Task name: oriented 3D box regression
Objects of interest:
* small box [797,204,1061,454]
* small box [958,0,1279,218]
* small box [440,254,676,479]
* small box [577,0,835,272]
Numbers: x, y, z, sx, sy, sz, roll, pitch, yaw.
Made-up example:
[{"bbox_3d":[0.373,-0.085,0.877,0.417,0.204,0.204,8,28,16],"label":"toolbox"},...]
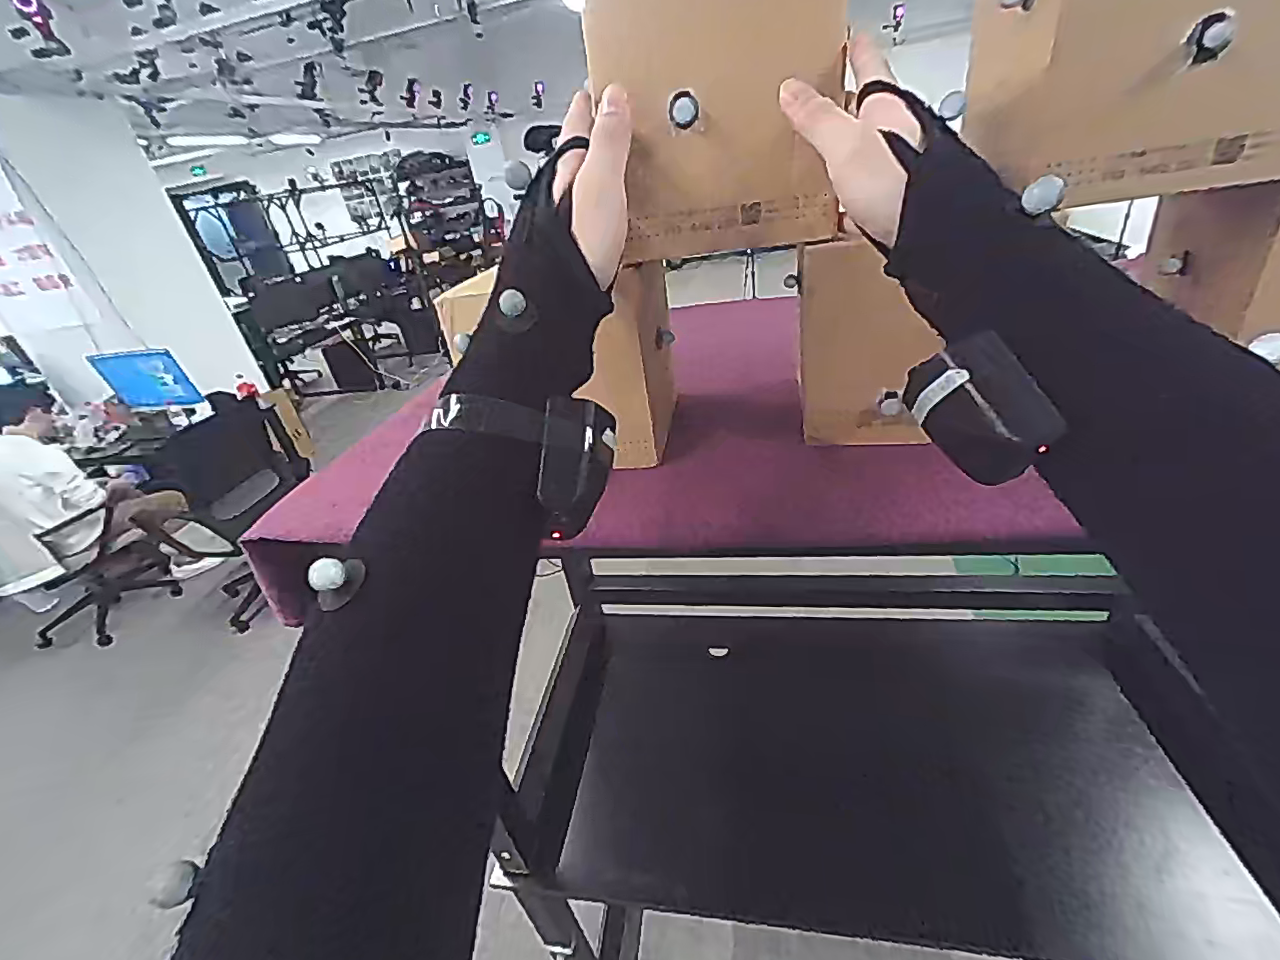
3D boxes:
[{"bbox_3d":[0.226,-0.135,0.480,0.168,0.176,0.179,-2,31,16],"label":"small box"},{"bbox_3d":[0.337,-0.285,0.370,0.168,0.176,0.179,-1,30,16],"label":"small box"},{"bbox_3d":[-0.060,-0.115,0.528,0.168,0.176,0.179,-3,31,12],"label":"small box"},{"bbox_3d":[0.058,-0.272,0.438,0.168,0.176,0.179,-5,28,8],"label":"small box"}]
